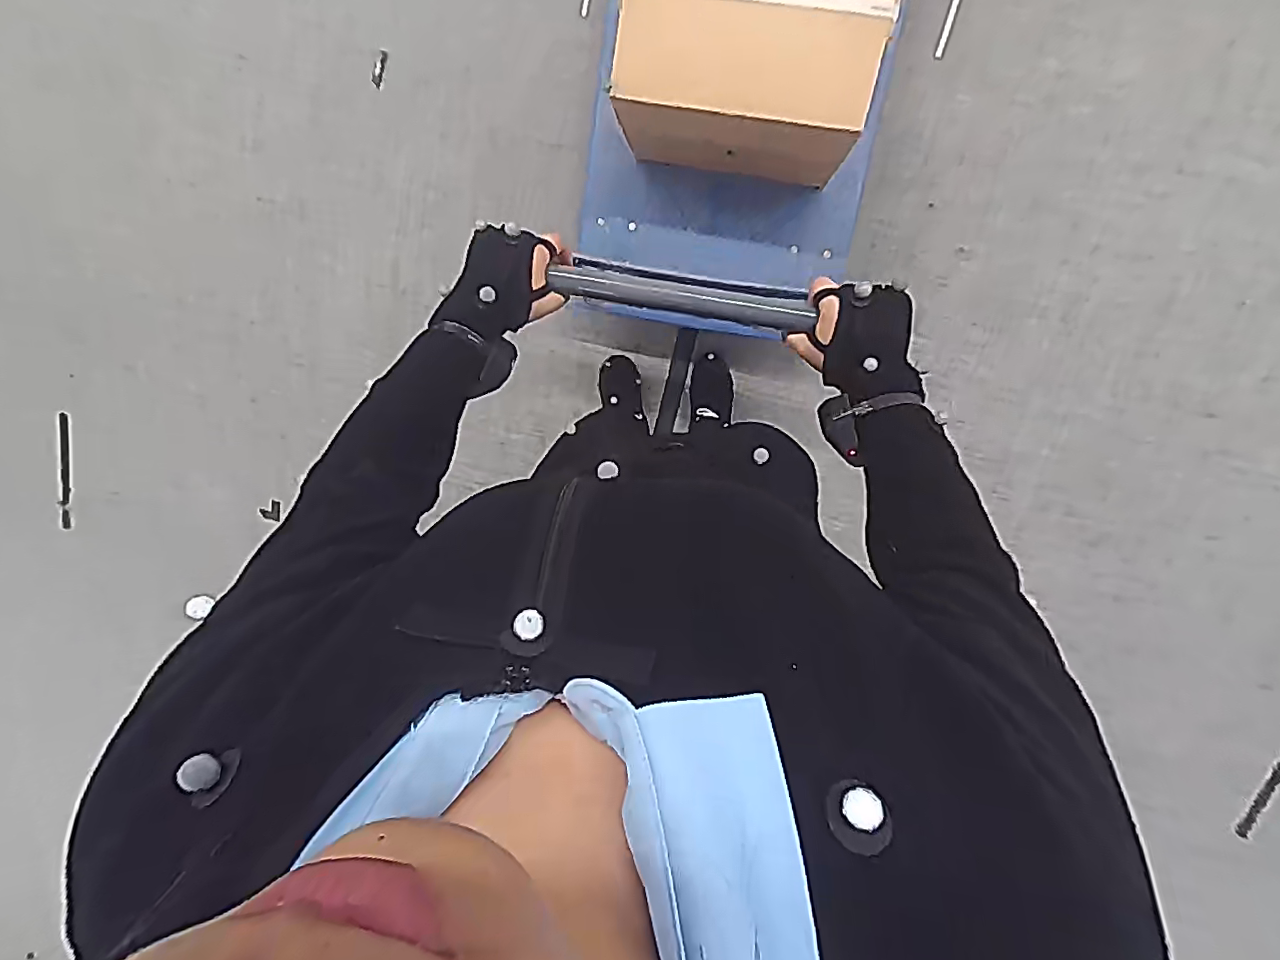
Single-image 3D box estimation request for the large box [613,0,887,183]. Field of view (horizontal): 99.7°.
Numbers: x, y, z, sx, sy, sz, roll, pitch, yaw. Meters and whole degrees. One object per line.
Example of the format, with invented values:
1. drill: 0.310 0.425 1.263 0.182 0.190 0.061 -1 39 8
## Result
1. large box: 0.193 -0.761 0.972 0.408 0.320 0.320 11 104 6
